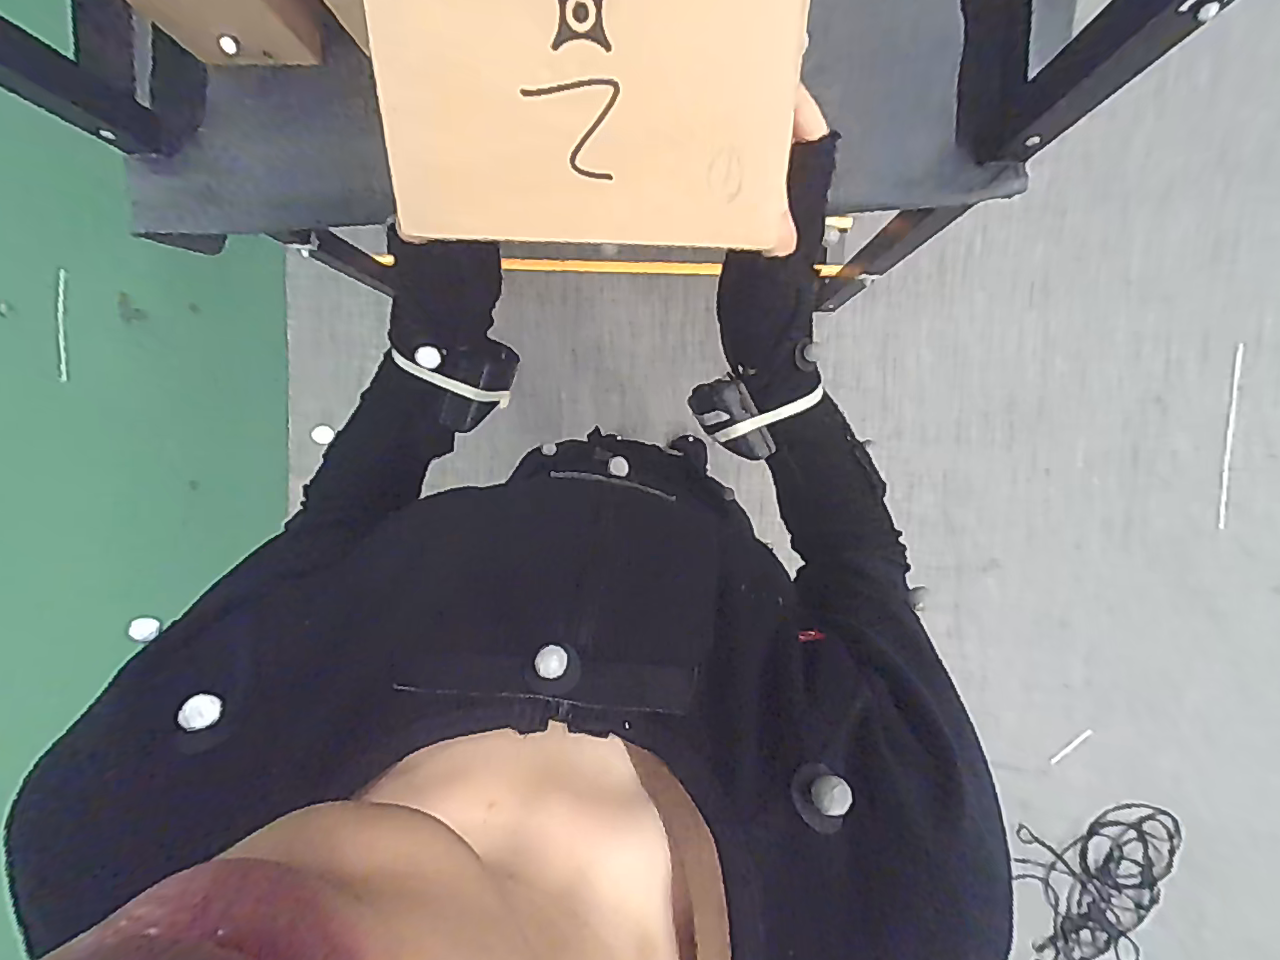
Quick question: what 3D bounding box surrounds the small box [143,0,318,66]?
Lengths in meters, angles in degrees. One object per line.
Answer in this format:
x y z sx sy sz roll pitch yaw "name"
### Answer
-0.512 -0.645 0.646 0.168 0.176 0.179 2 94 2 "small box"
